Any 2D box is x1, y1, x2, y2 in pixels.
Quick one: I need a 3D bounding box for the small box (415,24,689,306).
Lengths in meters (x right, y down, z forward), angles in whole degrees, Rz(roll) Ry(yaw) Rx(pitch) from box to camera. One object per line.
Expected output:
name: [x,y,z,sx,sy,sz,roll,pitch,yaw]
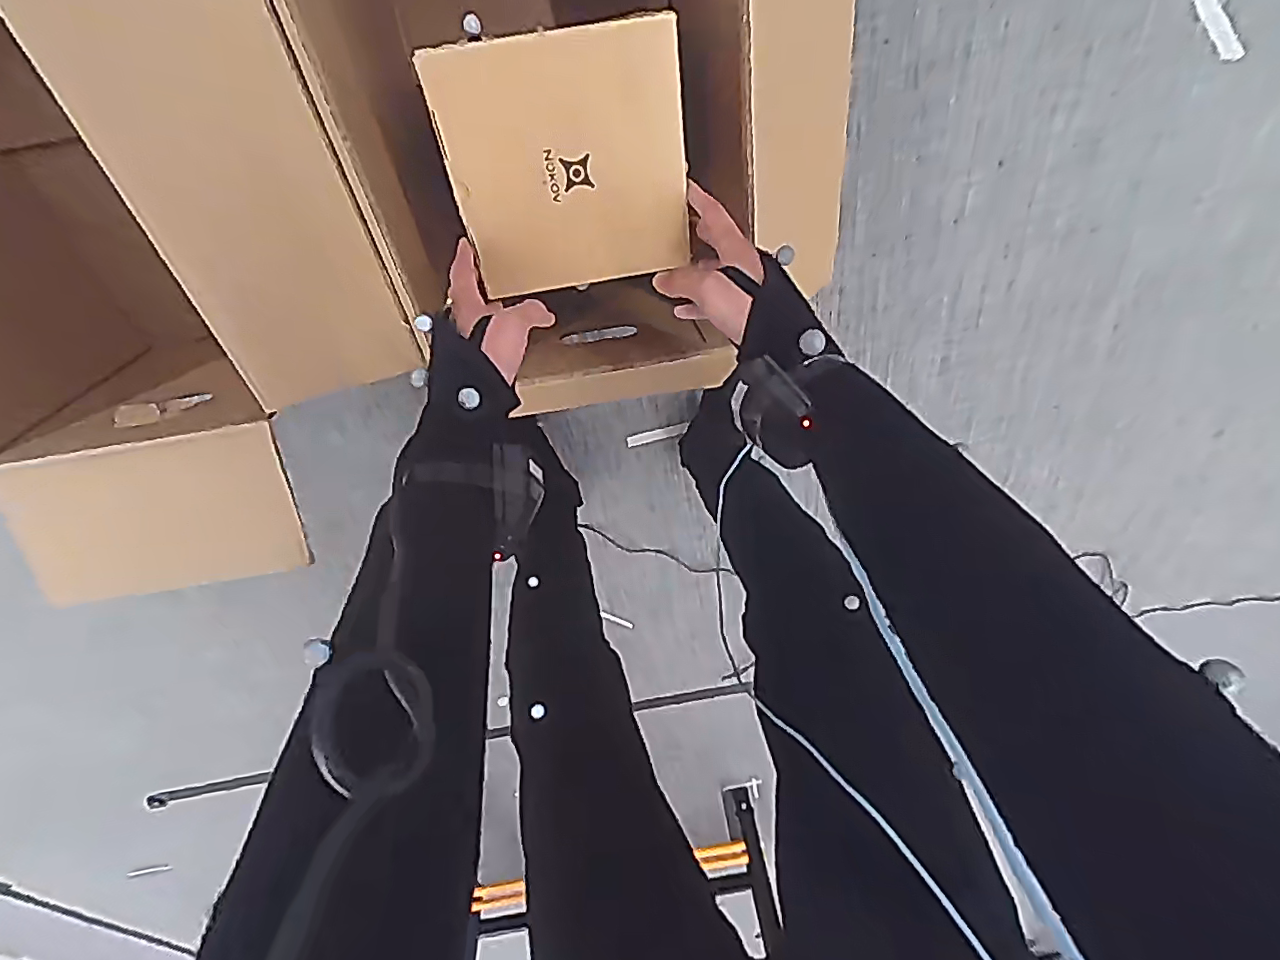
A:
small box: [-0.063,-0.273,0.462,0.179,0.176,0.168,-10,130,0]
